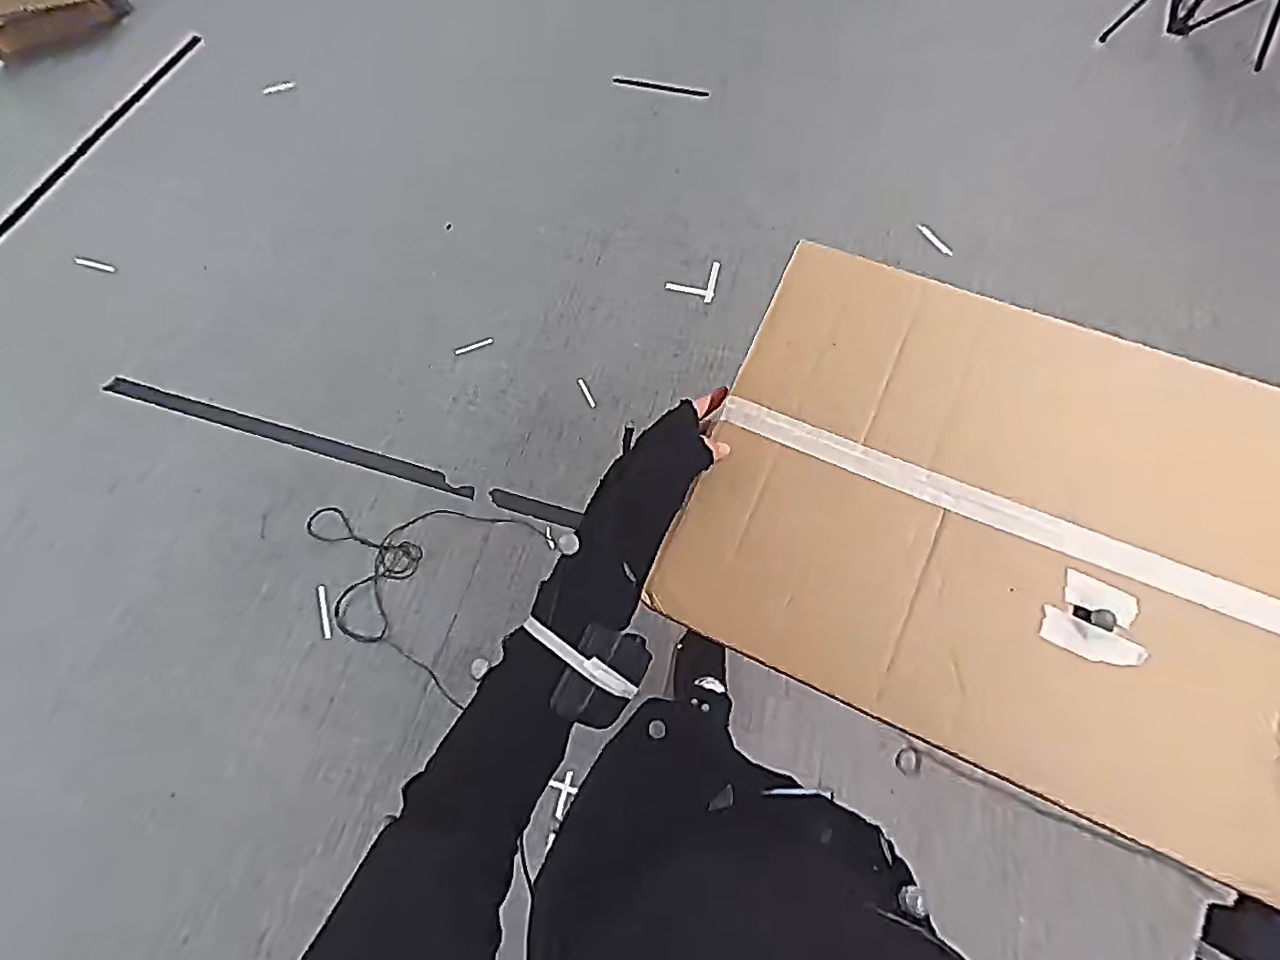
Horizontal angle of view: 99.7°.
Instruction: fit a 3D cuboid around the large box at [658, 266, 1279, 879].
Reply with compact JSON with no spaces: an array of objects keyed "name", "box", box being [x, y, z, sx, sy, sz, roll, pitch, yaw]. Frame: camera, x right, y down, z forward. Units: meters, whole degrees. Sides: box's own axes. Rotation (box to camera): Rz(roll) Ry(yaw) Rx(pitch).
[{"name":"large box","box":[0.265,0.065,0.525,0.408,0.320,0.320,23,80,12]}]
